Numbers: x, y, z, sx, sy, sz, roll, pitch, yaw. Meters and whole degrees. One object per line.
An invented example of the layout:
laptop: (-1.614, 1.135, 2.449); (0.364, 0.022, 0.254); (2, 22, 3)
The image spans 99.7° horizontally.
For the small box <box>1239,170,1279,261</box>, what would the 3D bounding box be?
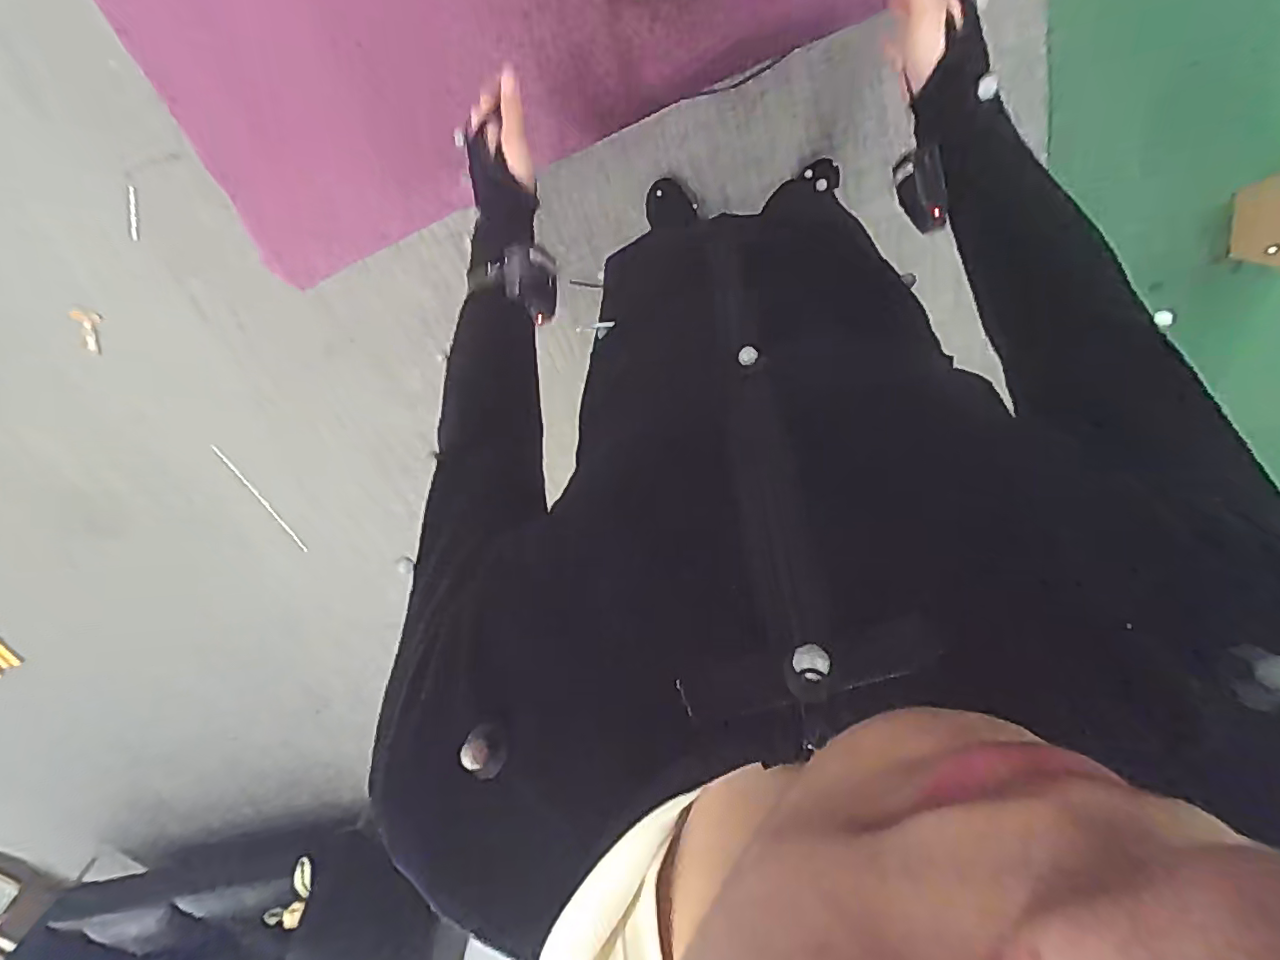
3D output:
small box: (1.555, -0.626, 1.247); (0.168, 0.176, 0.179); (-20, 119, 14)
